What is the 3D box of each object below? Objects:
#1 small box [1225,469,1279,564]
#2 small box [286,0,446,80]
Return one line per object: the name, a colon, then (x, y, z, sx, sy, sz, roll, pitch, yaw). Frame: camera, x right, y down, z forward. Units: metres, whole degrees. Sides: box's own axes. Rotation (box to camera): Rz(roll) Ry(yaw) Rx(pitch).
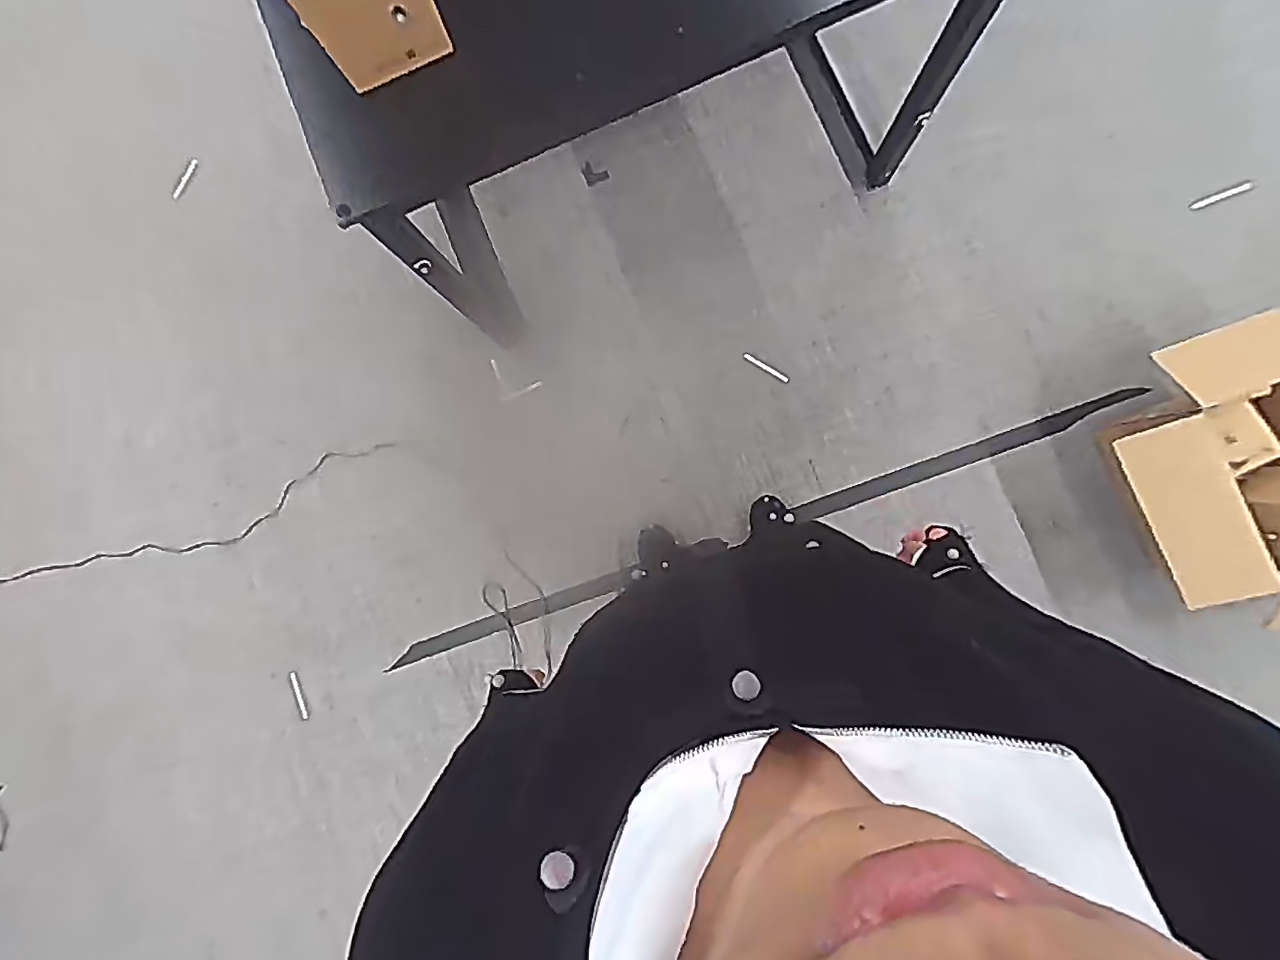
small box: (1.414, 0.078, 1.141, 0.179, 0.176, 0.168, -27, 90, 3)
small box: (-0.404, -0.719, 0.768, 0.168, 0.176, 0.179, -22, 85, 2)
